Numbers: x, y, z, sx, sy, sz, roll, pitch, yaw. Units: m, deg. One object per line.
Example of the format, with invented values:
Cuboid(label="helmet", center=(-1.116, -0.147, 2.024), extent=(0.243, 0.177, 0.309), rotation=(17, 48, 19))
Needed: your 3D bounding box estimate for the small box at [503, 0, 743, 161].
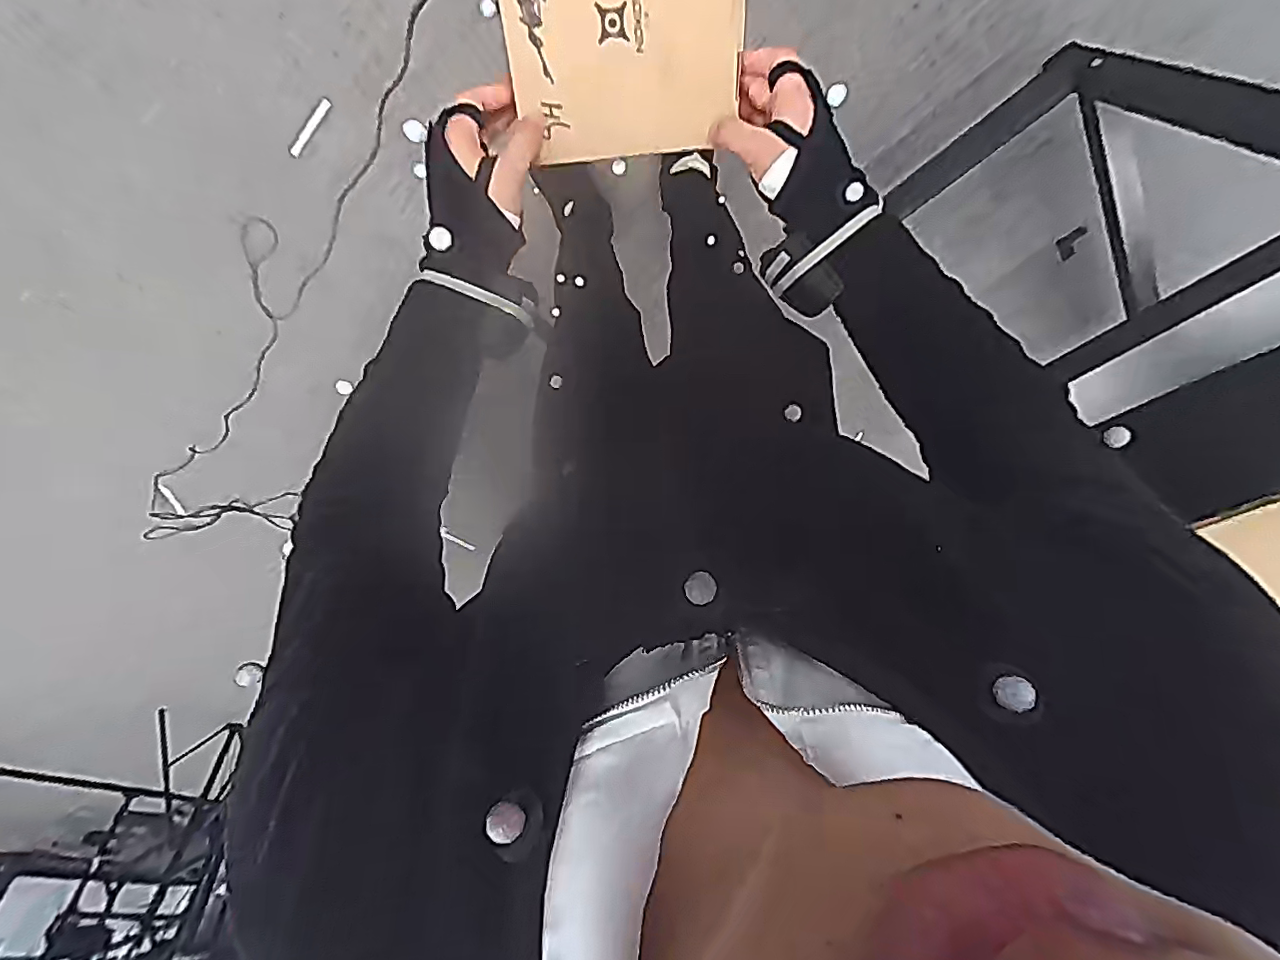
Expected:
Cuboid(label="small box", center=(-0.022, -0.377, 0.461), extent=(0.179, 0.176, 0.168), rotation=(-9, 122, -5))
